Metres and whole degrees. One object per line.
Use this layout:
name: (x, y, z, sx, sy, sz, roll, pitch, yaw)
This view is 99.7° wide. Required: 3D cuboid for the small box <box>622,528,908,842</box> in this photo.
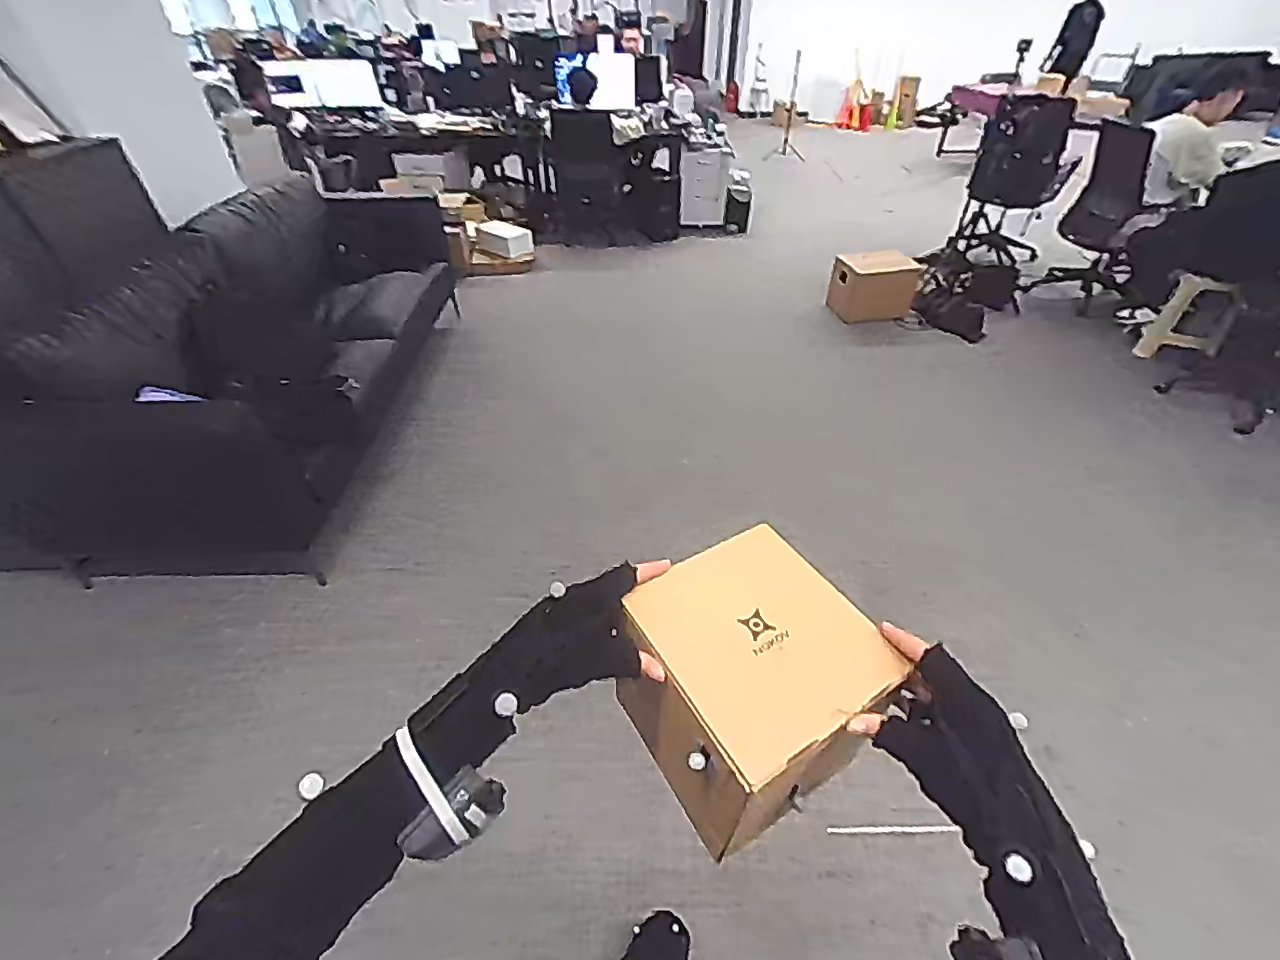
small box: (0.092, 0.180, 0.492, 0.168, 0.176, 0.179, -20, 47, -24)
